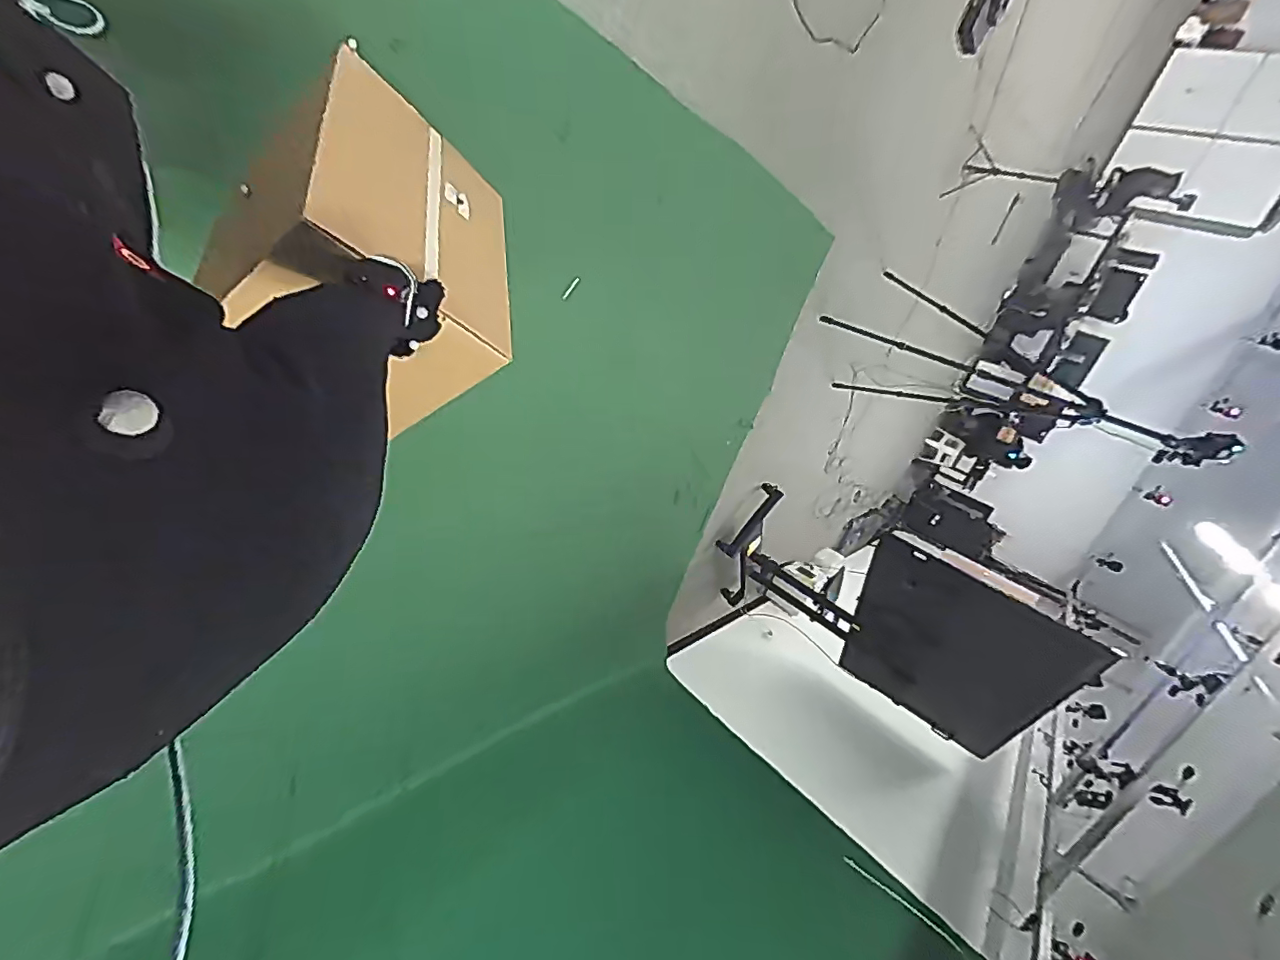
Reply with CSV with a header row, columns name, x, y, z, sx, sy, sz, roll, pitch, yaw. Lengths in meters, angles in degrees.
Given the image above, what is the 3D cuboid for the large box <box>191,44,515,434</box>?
name,x,y,z,sx,sy,sz,roll,pitch,yaw
large box,-0.432,-0.347,0.860,0.320,0.408,0.320,-25,149,24
